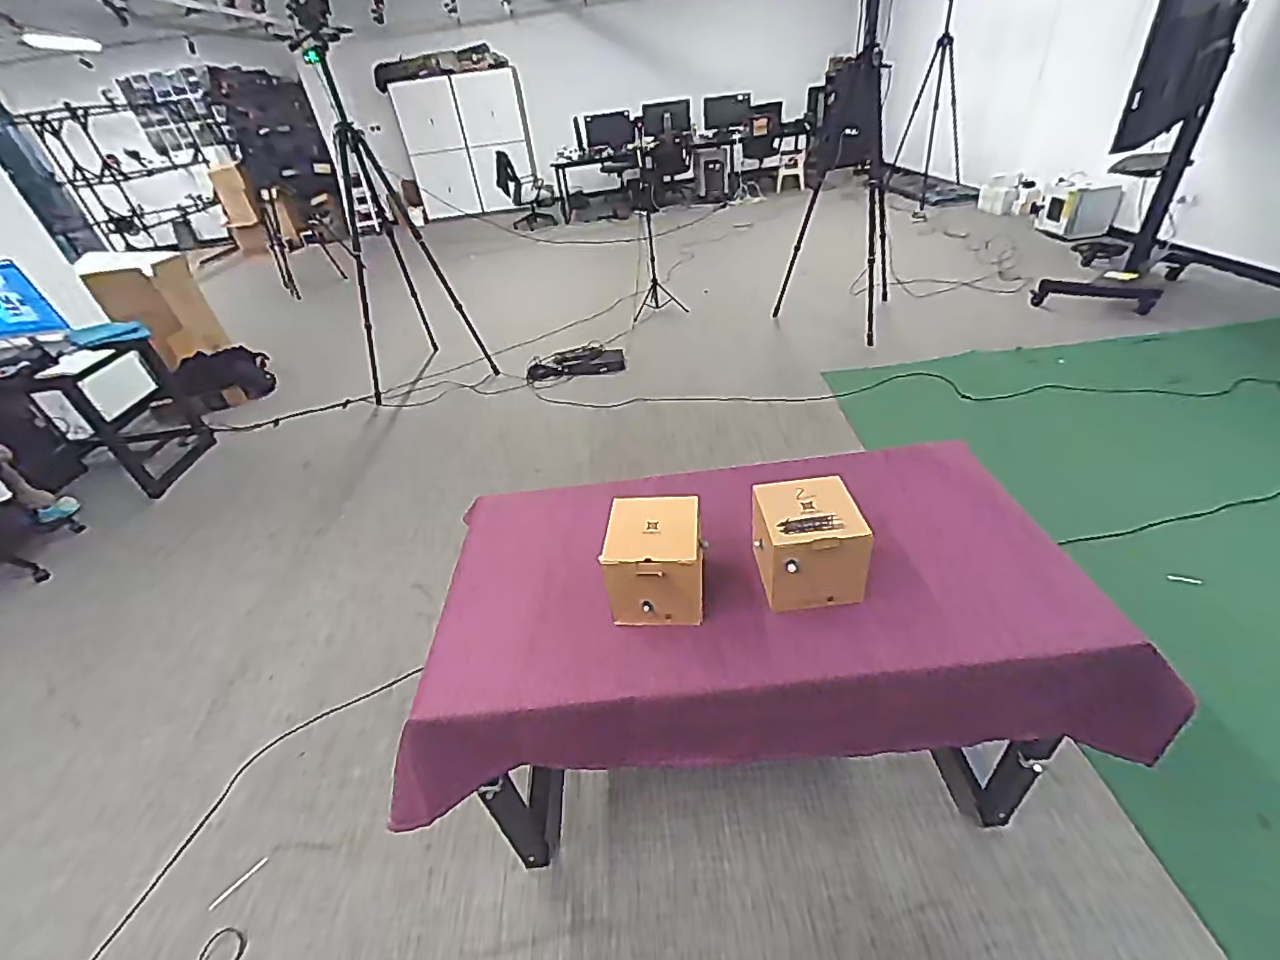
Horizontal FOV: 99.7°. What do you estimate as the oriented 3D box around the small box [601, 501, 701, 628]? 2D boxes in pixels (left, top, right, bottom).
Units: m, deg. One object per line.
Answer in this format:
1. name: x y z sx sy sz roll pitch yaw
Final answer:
1. small box: 0.029 0.159 1.035 0.168 0.176 0.179 -2 38 8
